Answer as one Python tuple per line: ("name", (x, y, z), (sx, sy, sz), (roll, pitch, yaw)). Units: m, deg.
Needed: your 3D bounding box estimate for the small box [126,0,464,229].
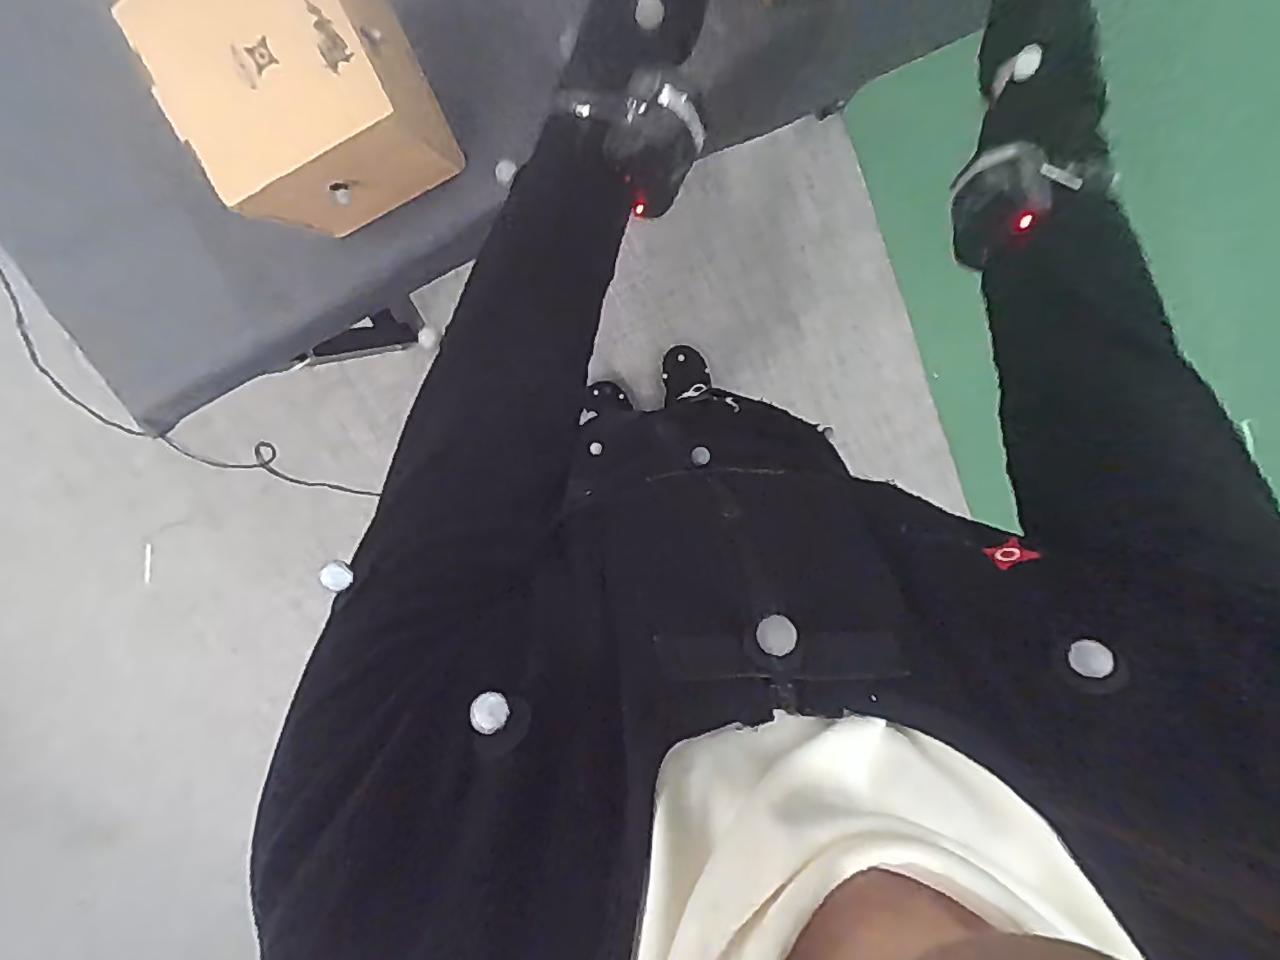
("small box", (-0.304, -0.366, 0.519), (0.179, 0.176, 0.168), (-22, 103, 10))
